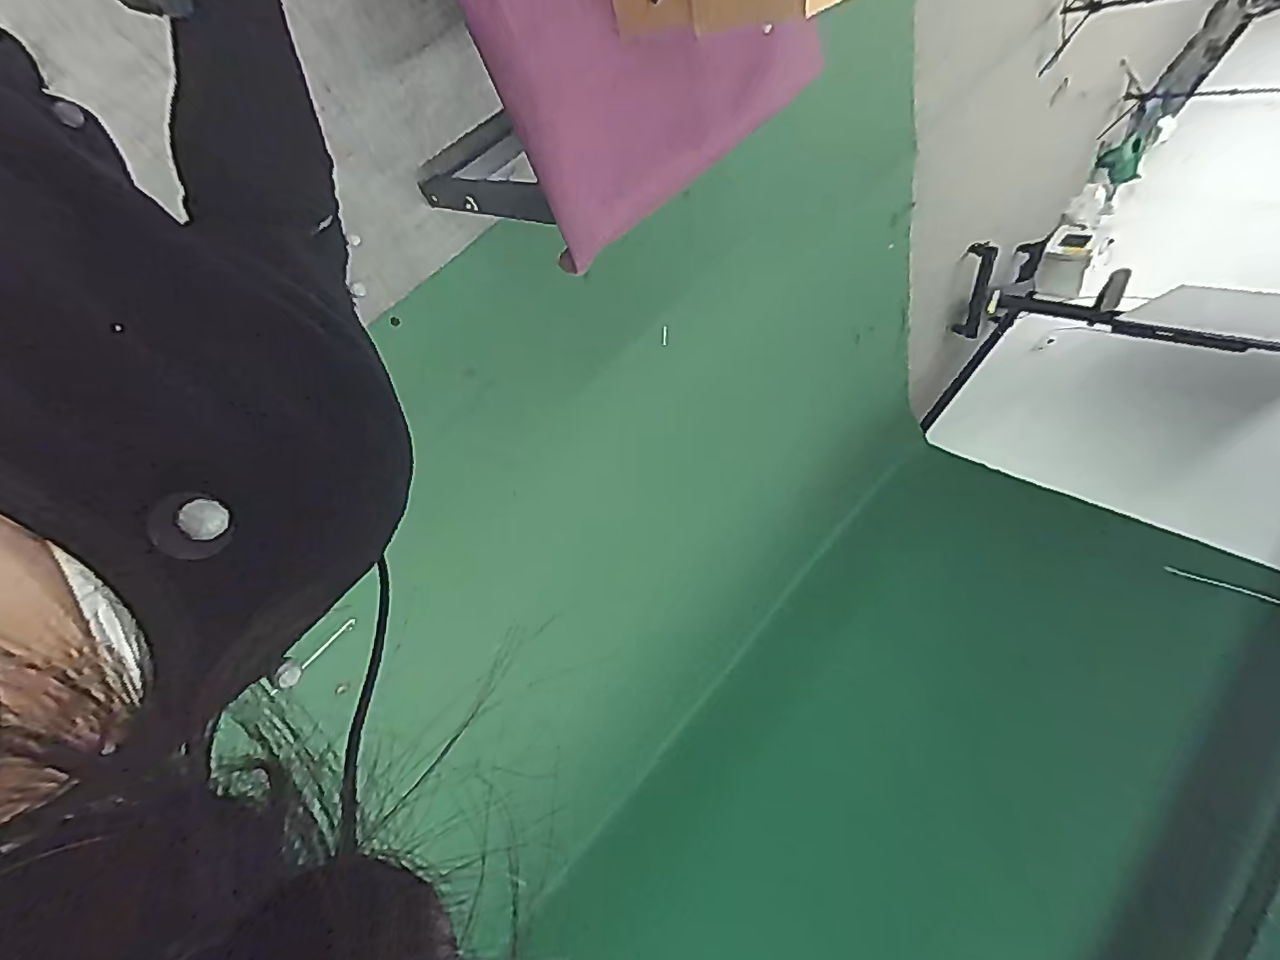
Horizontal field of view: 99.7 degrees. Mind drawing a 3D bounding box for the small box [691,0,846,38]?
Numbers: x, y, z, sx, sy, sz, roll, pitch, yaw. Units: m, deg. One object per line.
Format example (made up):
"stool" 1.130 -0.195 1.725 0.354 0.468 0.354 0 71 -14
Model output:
"small box" 0.160 -0.635 0.606 0.168 0.176 0.179 -40 137 -22
